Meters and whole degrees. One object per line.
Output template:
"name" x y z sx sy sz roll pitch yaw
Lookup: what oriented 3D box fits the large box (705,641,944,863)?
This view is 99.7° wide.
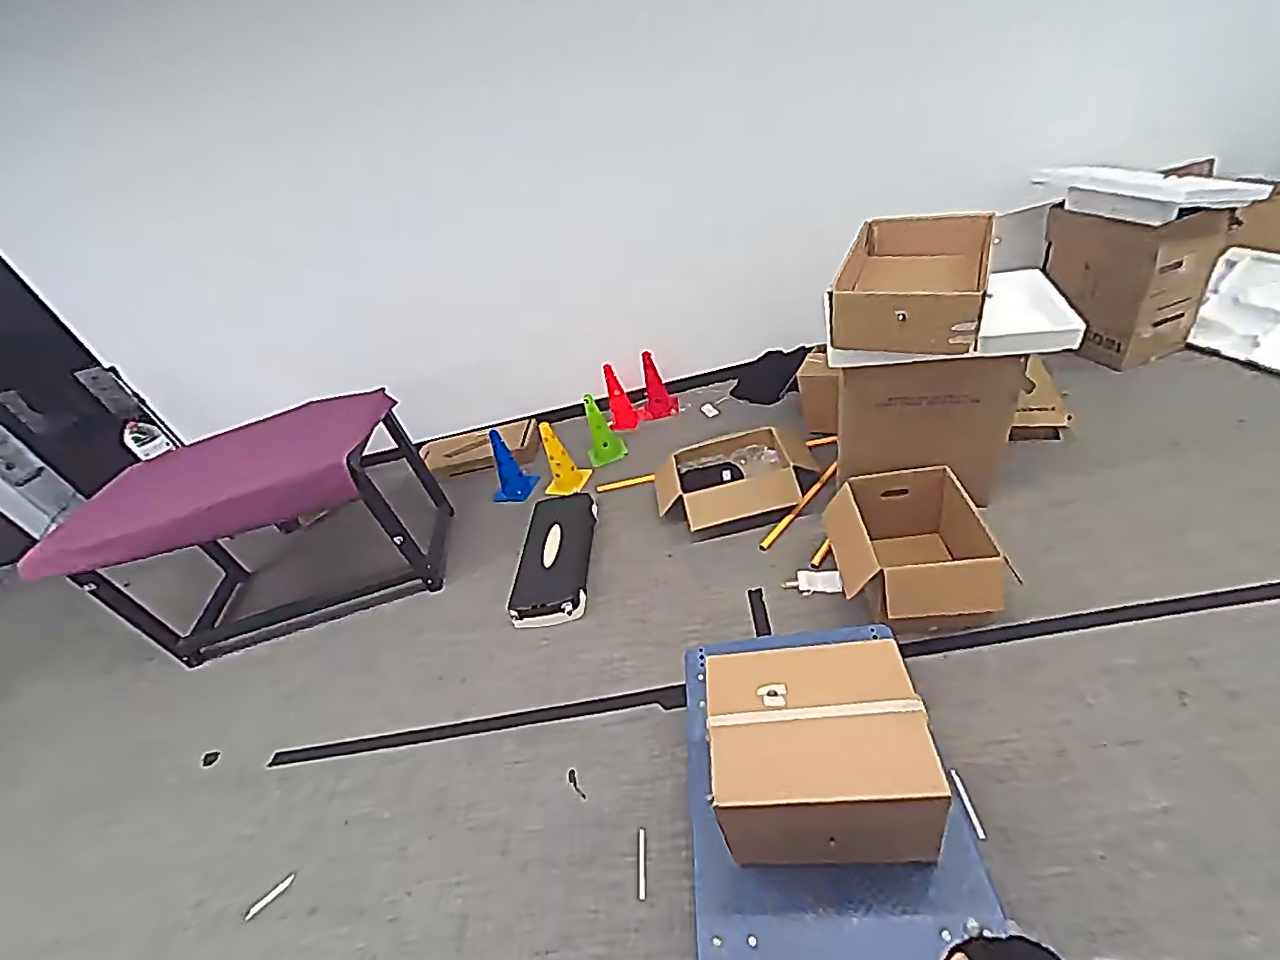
"large box" 0.373 0.587 1.159 0.408 0.320 0.320 -11 36 11
